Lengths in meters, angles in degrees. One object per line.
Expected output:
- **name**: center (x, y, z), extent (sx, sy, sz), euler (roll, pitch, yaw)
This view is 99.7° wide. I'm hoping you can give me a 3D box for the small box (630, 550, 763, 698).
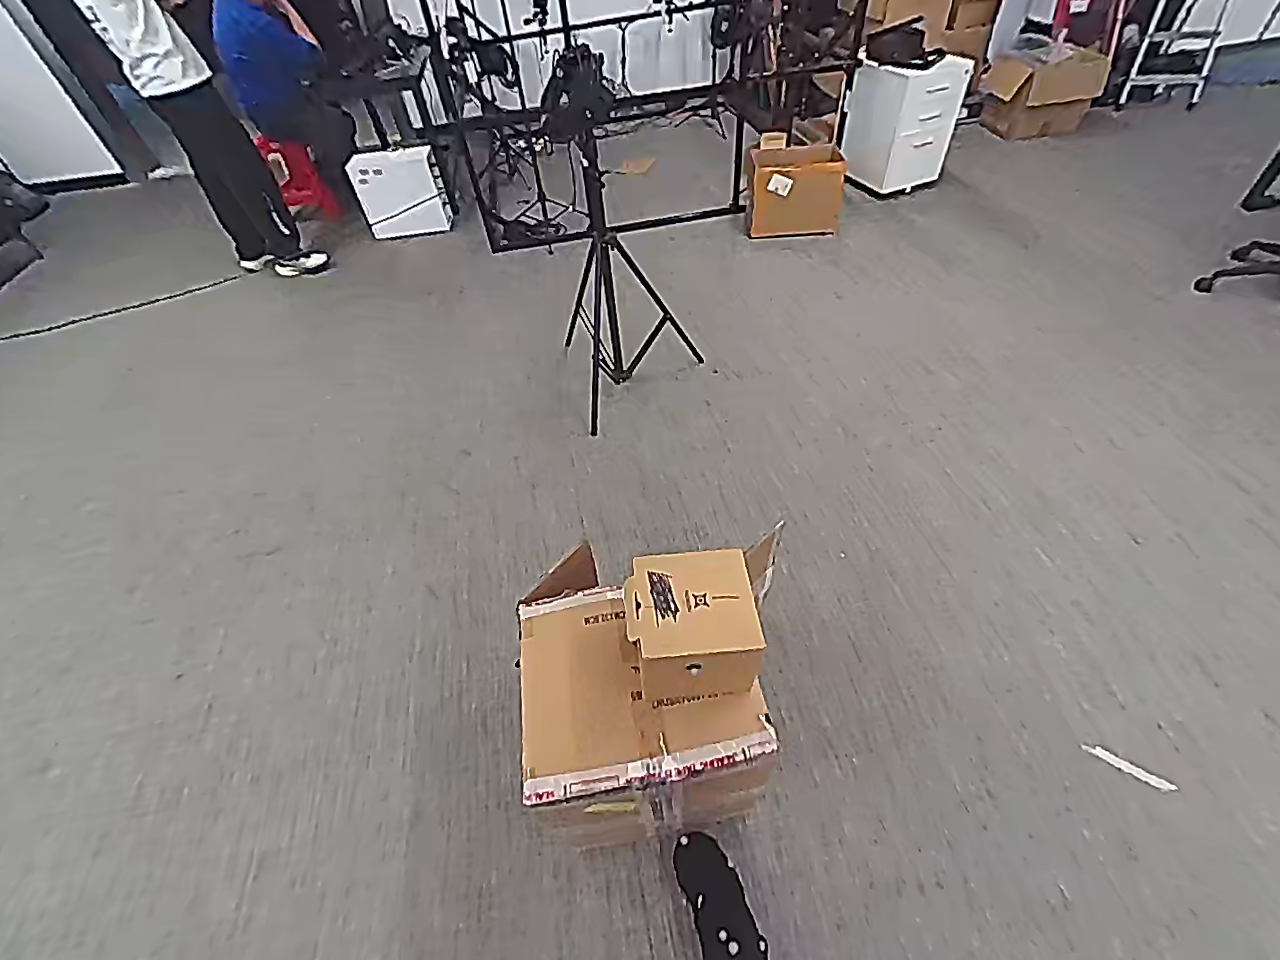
- **small box**: center (0.081, 0.230, 0.849), extent (0.179, 0.176, 0.168), euler (-5, 50, -2)
